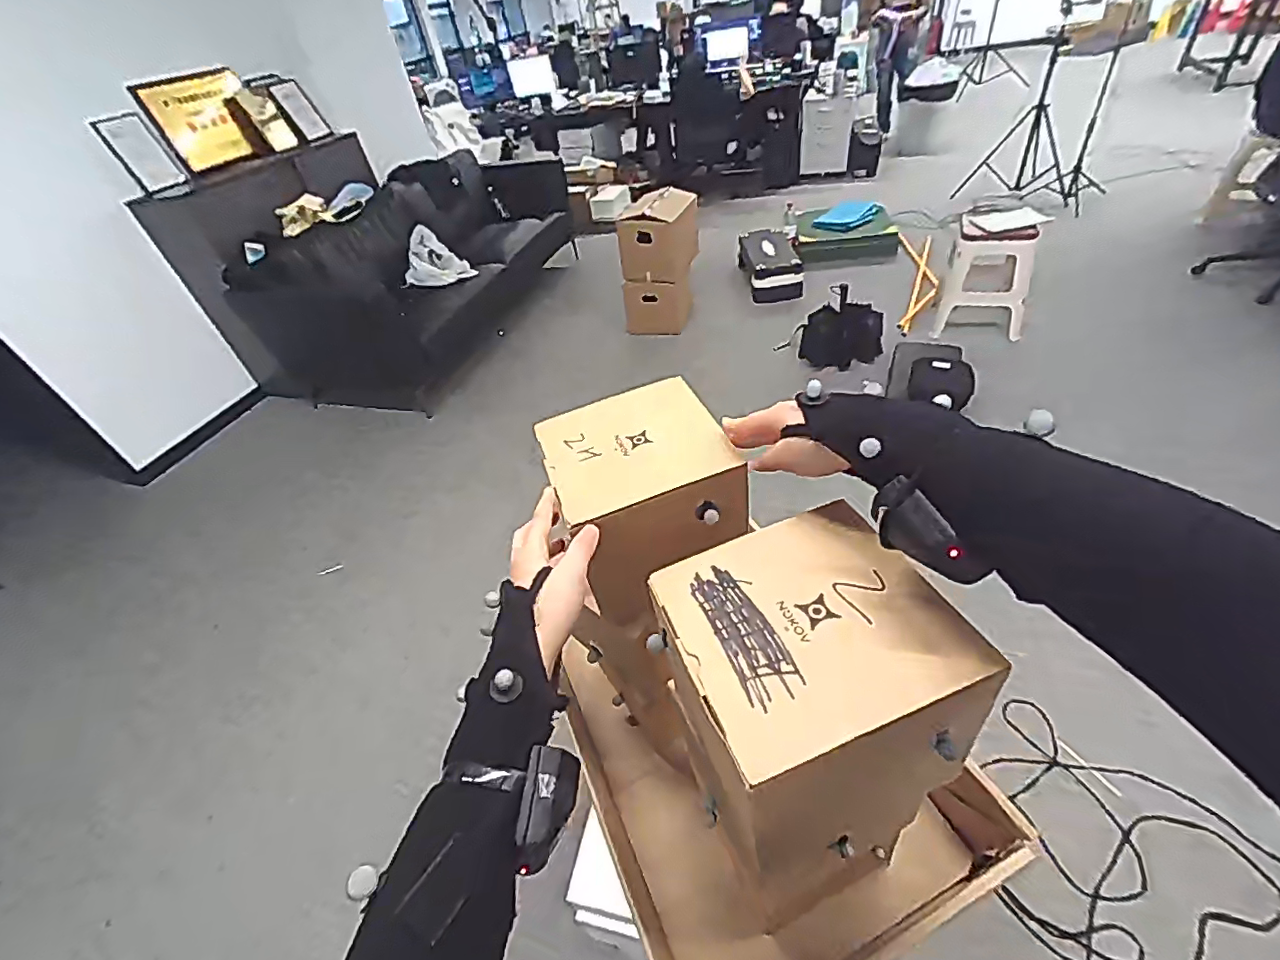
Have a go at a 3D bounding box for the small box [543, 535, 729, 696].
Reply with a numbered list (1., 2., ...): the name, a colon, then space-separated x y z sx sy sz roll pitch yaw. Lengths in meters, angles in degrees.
1. small box: 0.005 0.145 0.719 0.168 0.176 0.179 25 56 34

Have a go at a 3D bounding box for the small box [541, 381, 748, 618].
1. small box: 0.008 0.021 0.606 0.179 0.176 0.168 -20 43 -7

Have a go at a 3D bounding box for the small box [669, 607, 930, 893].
1. small box: 0.149 0.267 0.542 0.179 0.176 0.168 -23 40 -9
